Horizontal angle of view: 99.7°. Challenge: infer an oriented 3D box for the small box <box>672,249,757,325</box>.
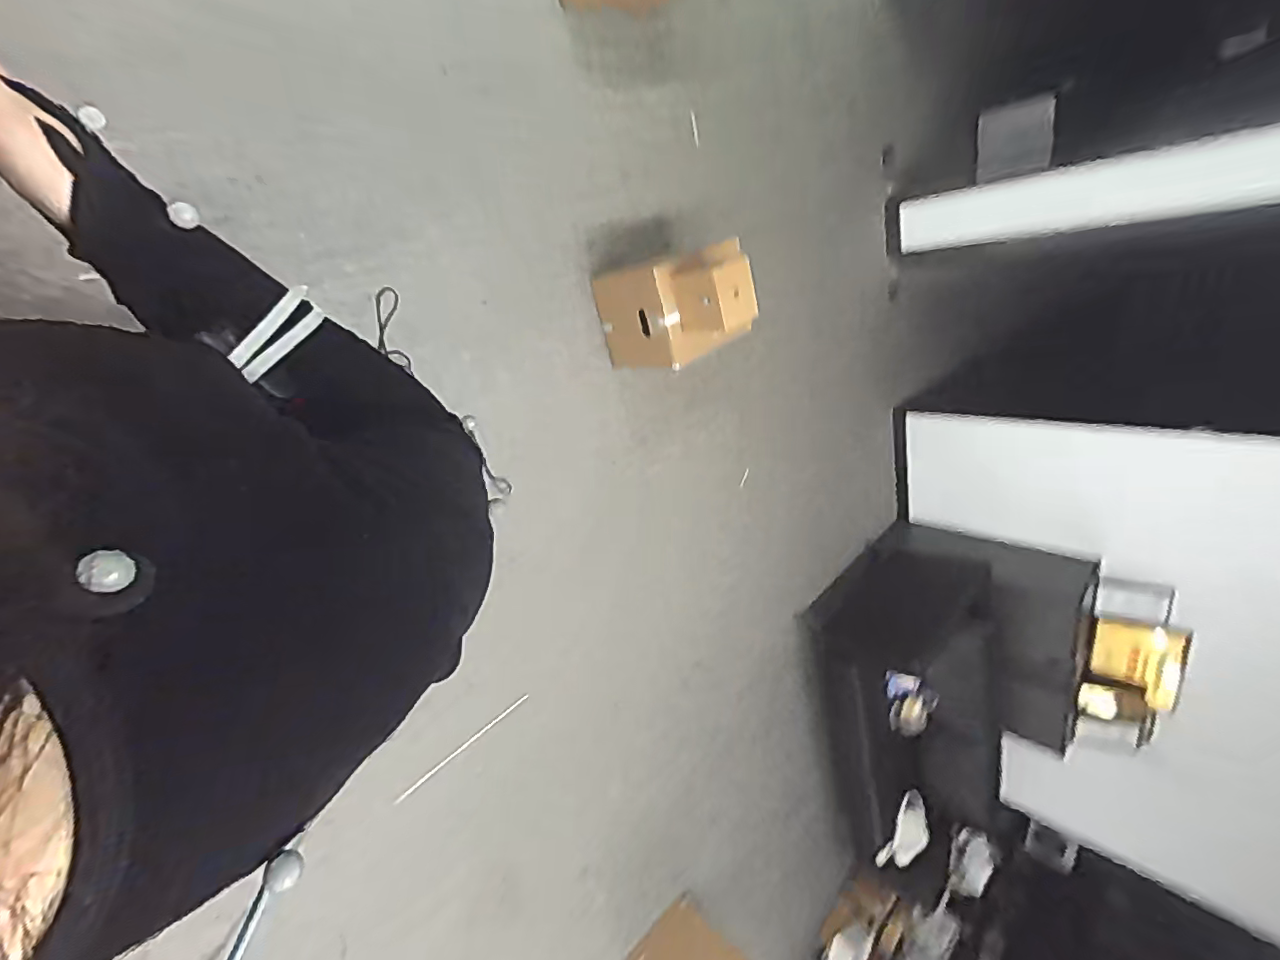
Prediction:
[{"bbox_3d":[0.221,-0.571,1.616,0.168,0.176,0.179,-34,119,-32],"label":"small box"}]
